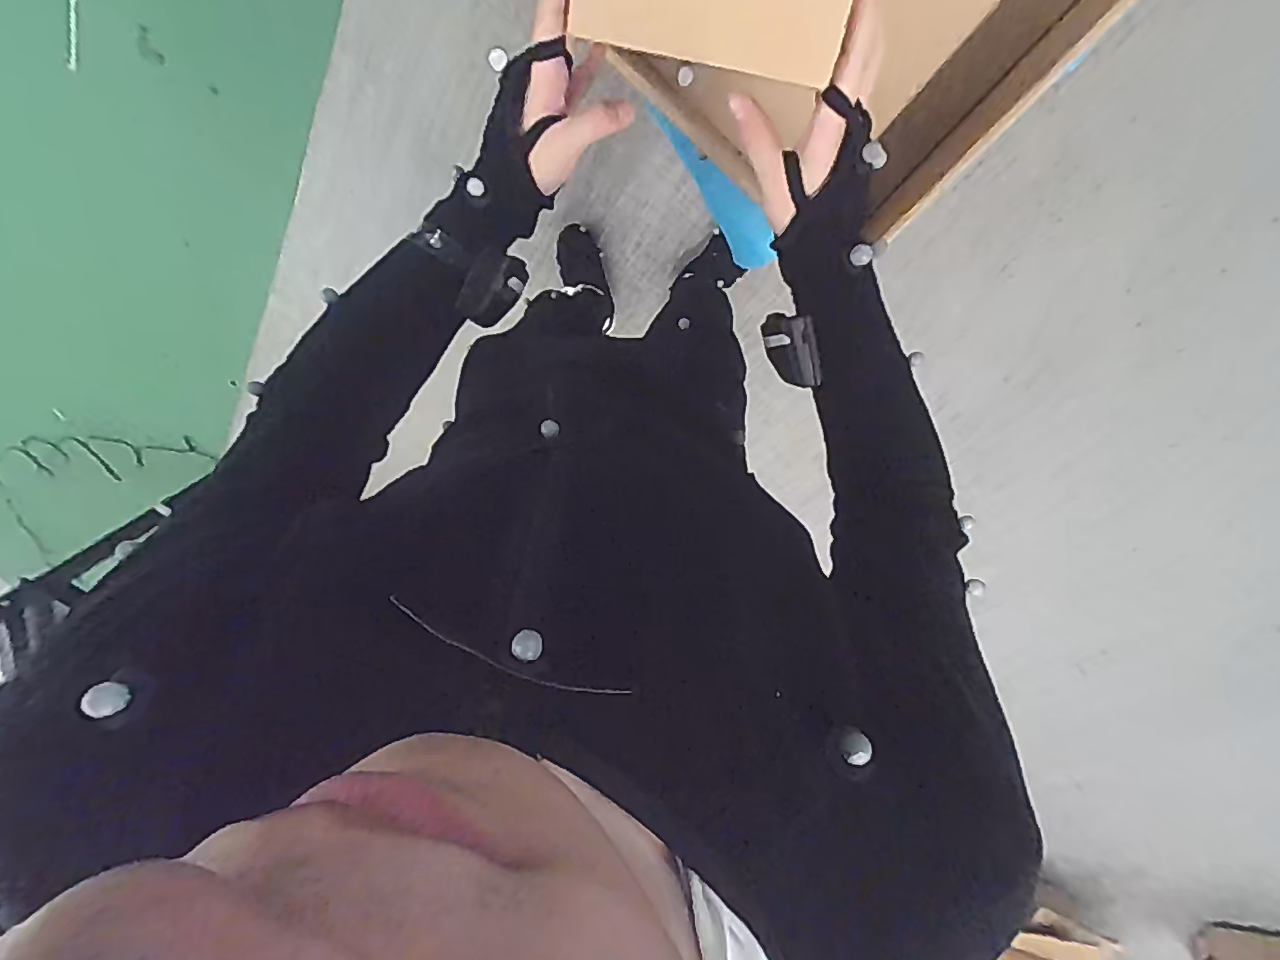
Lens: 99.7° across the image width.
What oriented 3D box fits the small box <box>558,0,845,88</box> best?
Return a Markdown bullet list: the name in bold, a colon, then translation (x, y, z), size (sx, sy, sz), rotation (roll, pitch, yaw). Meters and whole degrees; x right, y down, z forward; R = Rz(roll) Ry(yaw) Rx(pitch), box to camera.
- **small box**: translation (0.058, -0.380, 0.357), size (0.179, 0.176, 0.168), rotation (13, 131, 2)
